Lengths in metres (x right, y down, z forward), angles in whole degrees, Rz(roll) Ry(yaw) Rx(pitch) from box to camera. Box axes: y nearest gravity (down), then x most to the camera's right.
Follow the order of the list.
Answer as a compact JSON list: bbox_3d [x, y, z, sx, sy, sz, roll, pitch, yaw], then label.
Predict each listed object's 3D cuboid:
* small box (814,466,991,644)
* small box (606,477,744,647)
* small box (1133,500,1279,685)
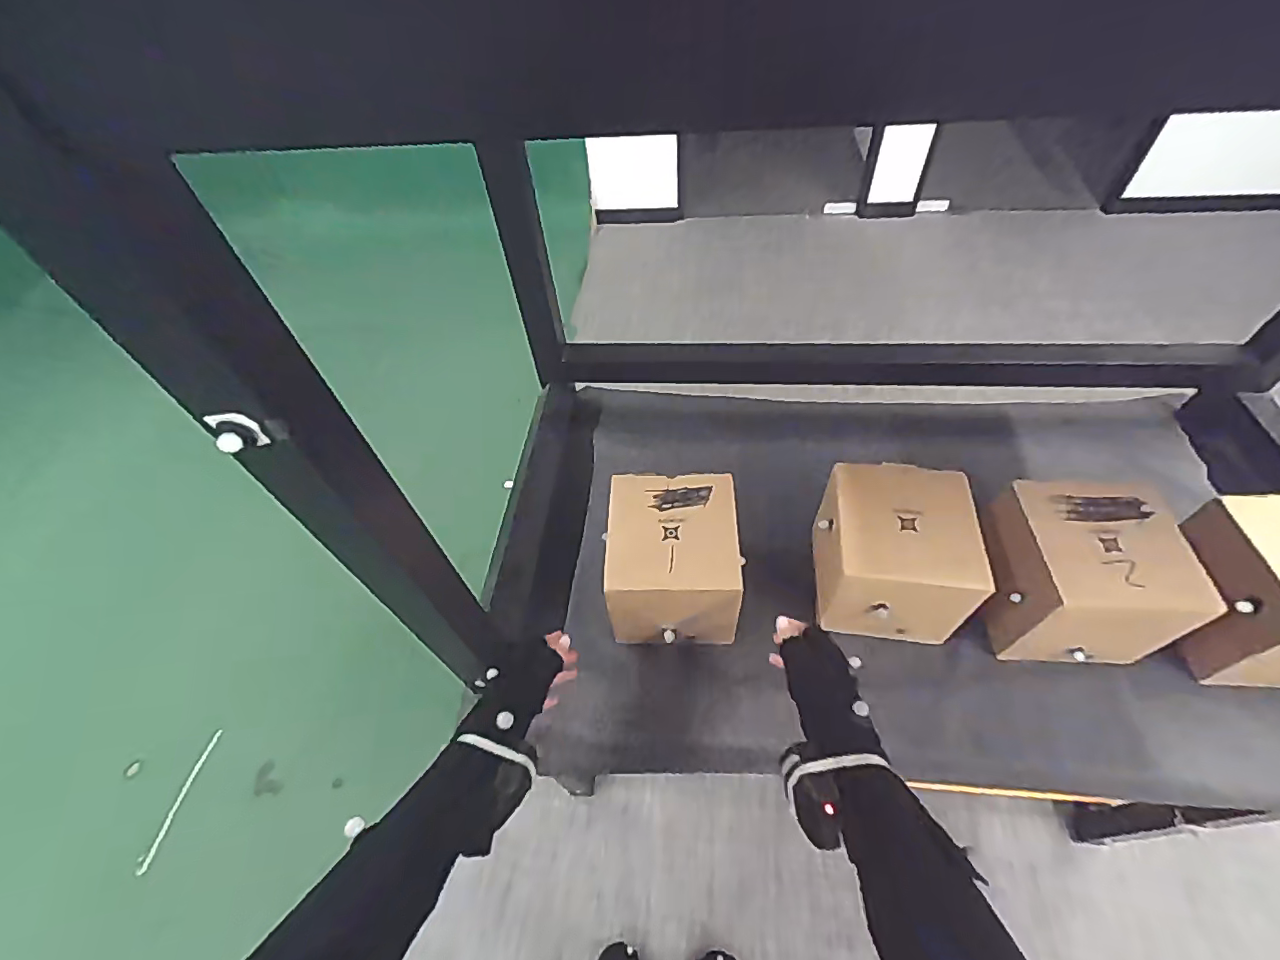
[{"bbox_3d":[0.337,0.105,0.734,0.168,0.176,0.179,5,52,9],"label":"small box"},{"bbox_3d":[0.048,0.114,0.748,0.168,0.176,0.179,-1,53,4],"label":"small box"},{"bbox_3d":[0.777,0.143,0.661,0.168,0.176,0.179,1,51,5],"label":"small box"}]
